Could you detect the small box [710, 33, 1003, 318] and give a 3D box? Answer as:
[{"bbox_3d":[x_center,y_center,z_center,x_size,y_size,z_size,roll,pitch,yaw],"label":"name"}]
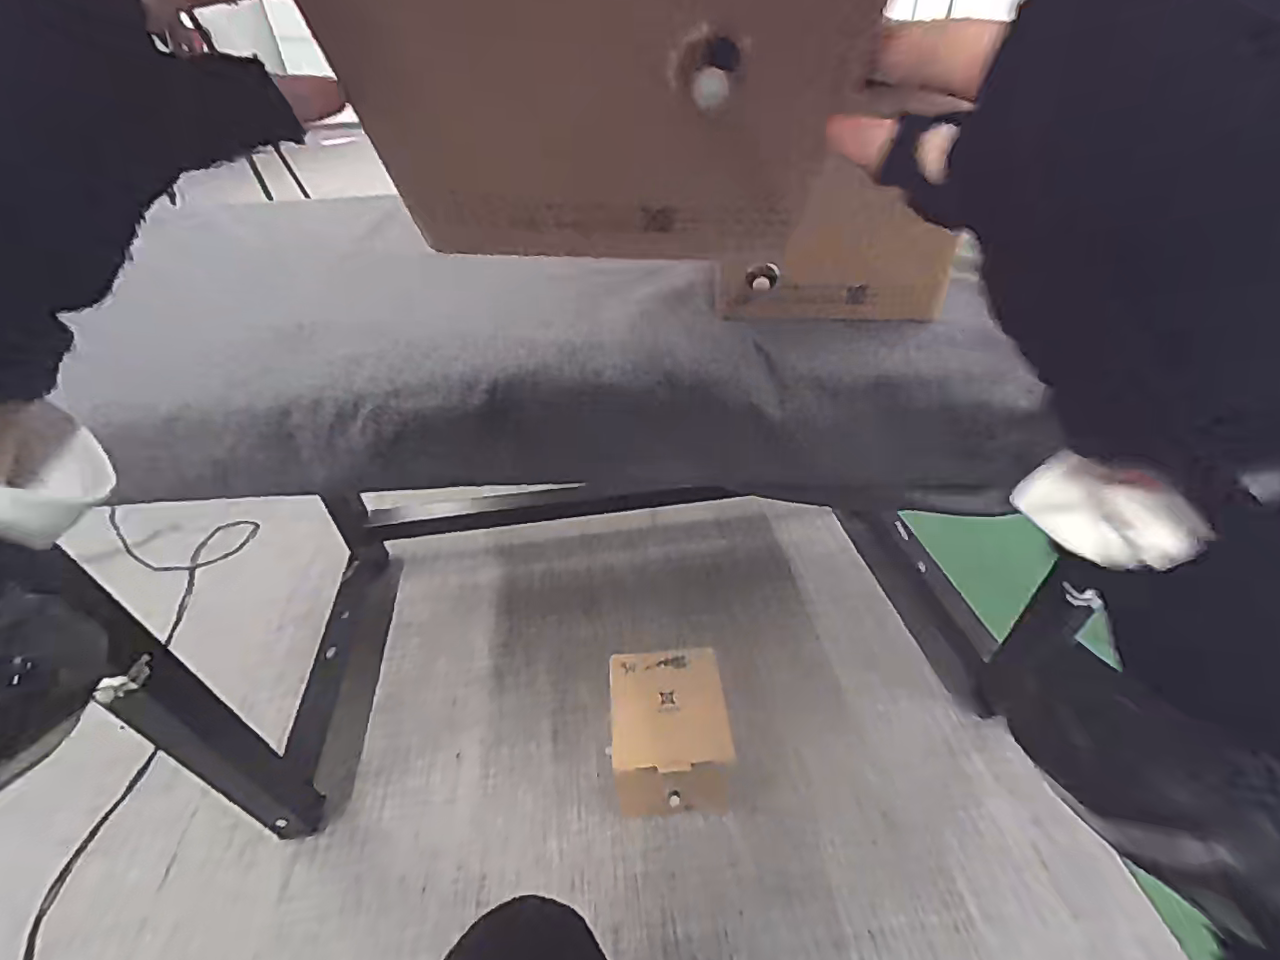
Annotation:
[{"bbox_3d":[0.144,-0.239,0.431,0.168,0.176,0.179,3,39,7],"label":"small box"}]
